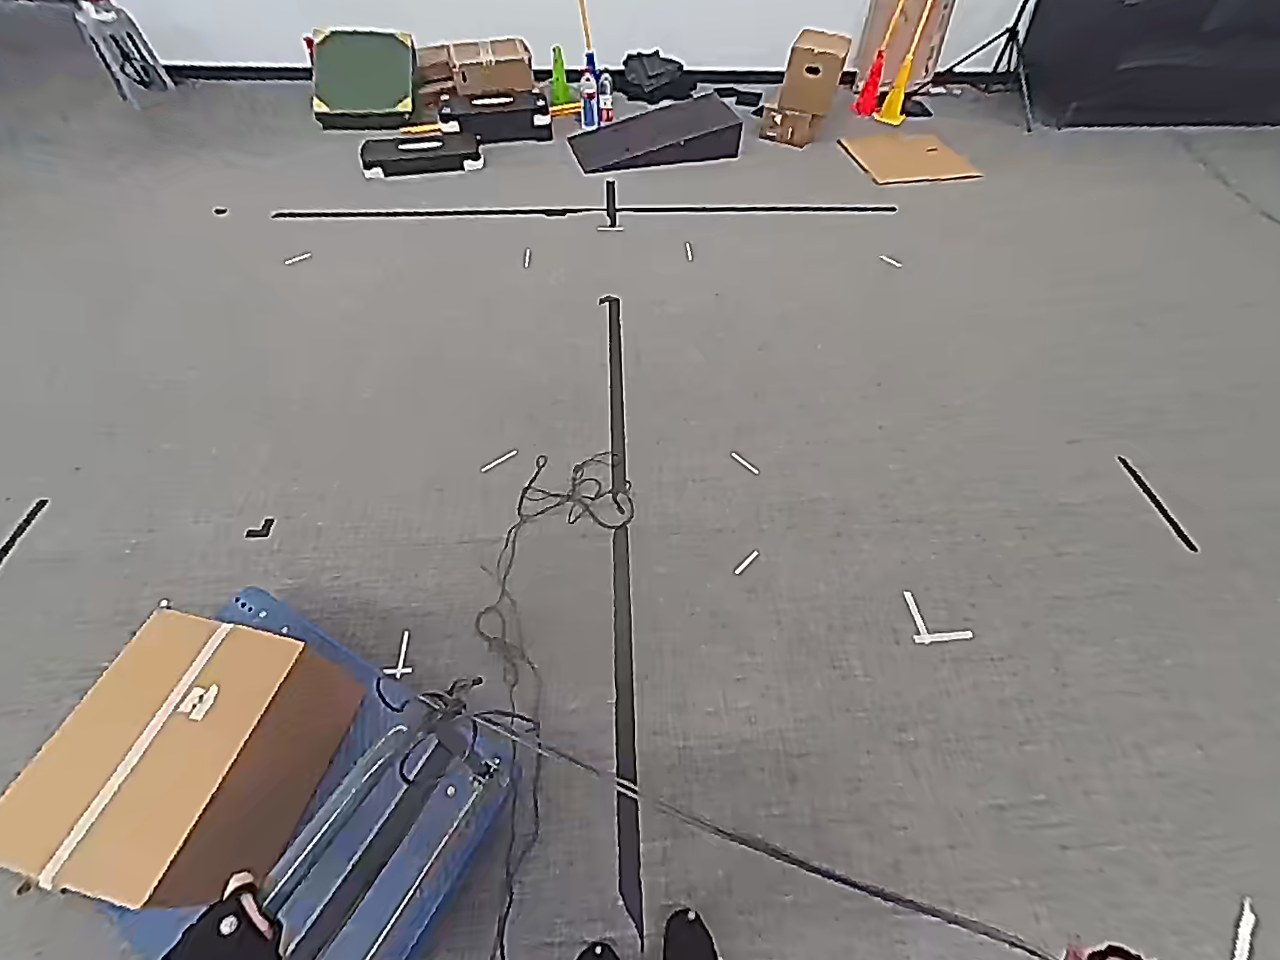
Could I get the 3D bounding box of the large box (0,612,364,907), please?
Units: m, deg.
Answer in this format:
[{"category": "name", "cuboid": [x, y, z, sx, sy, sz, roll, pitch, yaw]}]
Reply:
[{"category": "large box", "cuboid": [-0.814, 0.524, 1.022, 0.320, 0.320, 0.408, 11, 53, 6]}]
